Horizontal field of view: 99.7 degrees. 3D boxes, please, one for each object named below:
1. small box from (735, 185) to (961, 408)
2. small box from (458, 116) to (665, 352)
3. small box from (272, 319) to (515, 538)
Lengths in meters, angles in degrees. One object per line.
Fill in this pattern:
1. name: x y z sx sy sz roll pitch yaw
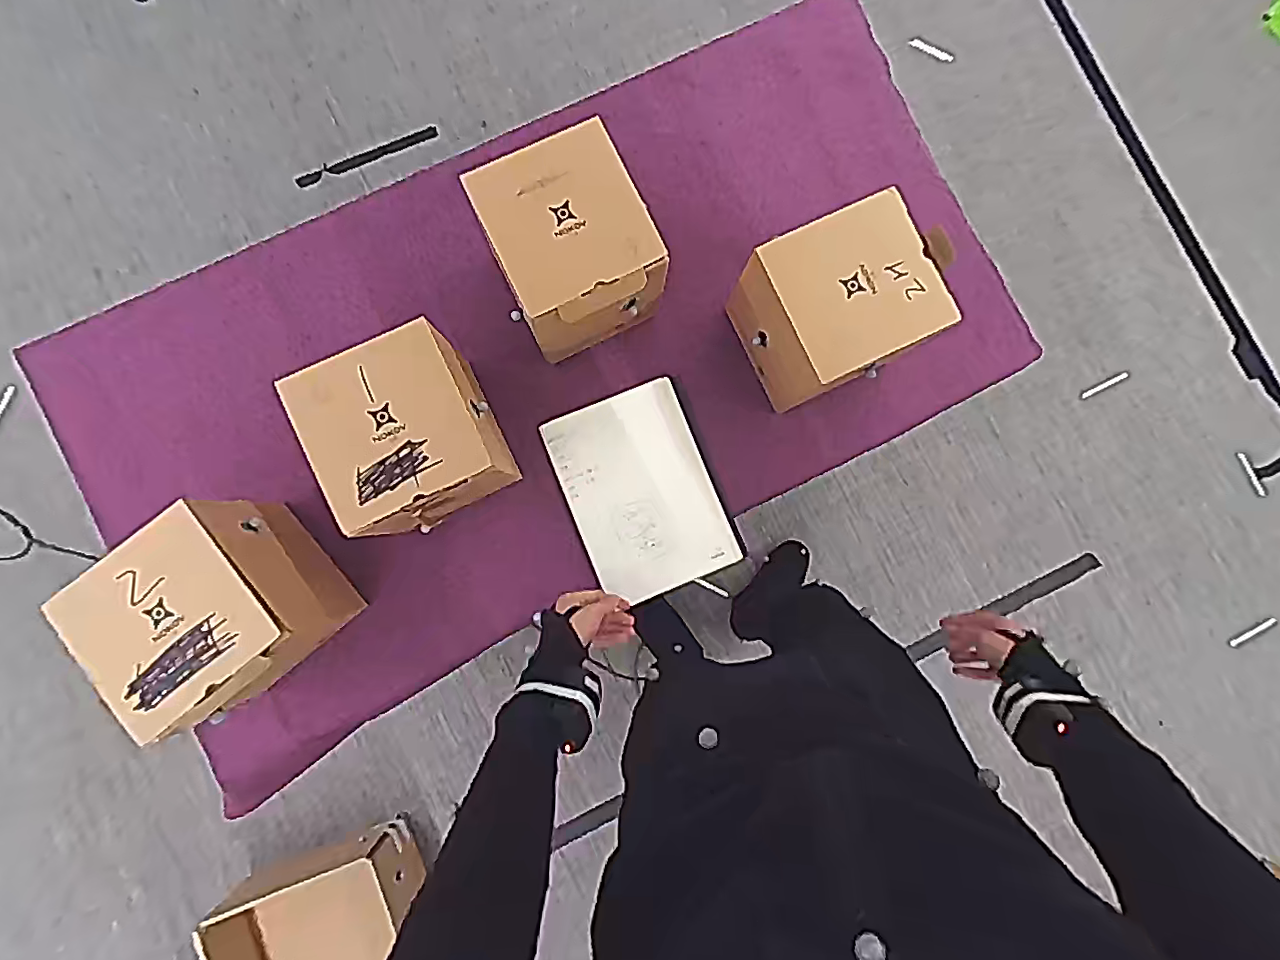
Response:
1. small box: 0.228 -0.203 0.650 0.179 0.176 0.168 -25 88 -4
2. small box: -0.084 -0.269 0.643 0.168 0.176 0.179 -26 88 -5
3. small box: -0.261 -0.048 0.619 0.168 0.176 0.179 -26 87 -4
